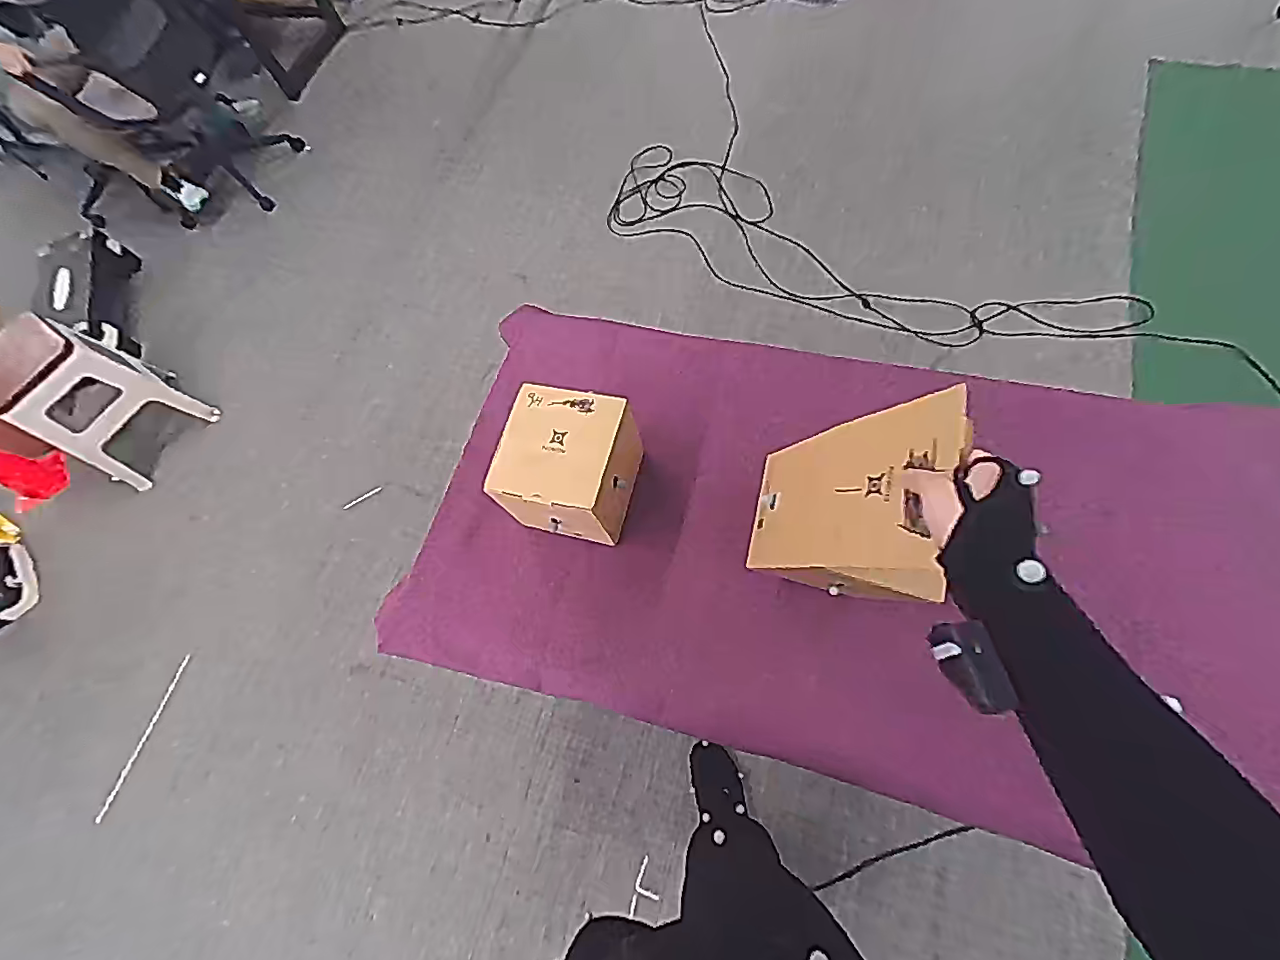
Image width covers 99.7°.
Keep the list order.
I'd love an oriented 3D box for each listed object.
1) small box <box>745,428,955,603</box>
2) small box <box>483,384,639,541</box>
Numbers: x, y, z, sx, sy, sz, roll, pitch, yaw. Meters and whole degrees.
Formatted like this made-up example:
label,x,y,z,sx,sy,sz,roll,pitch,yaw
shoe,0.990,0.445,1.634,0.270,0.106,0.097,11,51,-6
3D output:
label,x,y,z,sx,sy,sz,roll,pitch,yaw
small box,0.258,0.053,0.691,0.179,0.176,0.168,16,77,-8
small box,-0.106,-0.020,0.823,0.168,0.176,0.179,11,71,13
